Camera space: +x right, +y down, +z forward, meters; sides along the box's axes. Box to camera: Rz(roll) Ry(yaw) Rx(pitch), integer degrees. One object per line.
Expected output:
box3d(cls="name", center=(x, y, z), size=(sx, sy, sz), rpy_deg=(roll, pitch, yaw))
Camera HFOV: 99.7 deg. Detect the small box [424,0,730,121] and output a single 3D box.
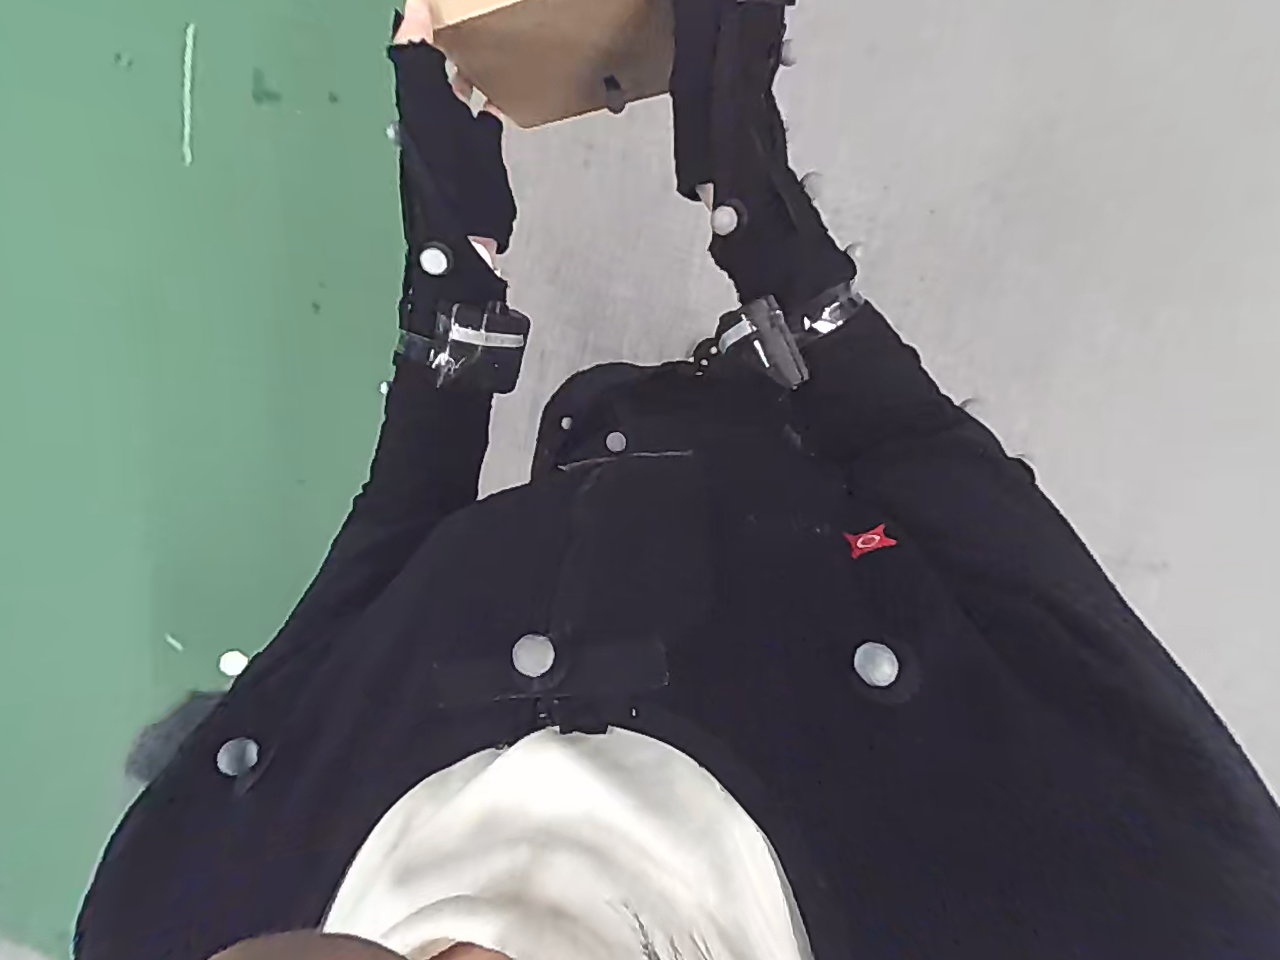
box3d(cls="small box", center=(-0.036, -0.364, 0.344), size=(0.179, 0.176, 0.168), rpy_deg=(-7, 104, 9))
